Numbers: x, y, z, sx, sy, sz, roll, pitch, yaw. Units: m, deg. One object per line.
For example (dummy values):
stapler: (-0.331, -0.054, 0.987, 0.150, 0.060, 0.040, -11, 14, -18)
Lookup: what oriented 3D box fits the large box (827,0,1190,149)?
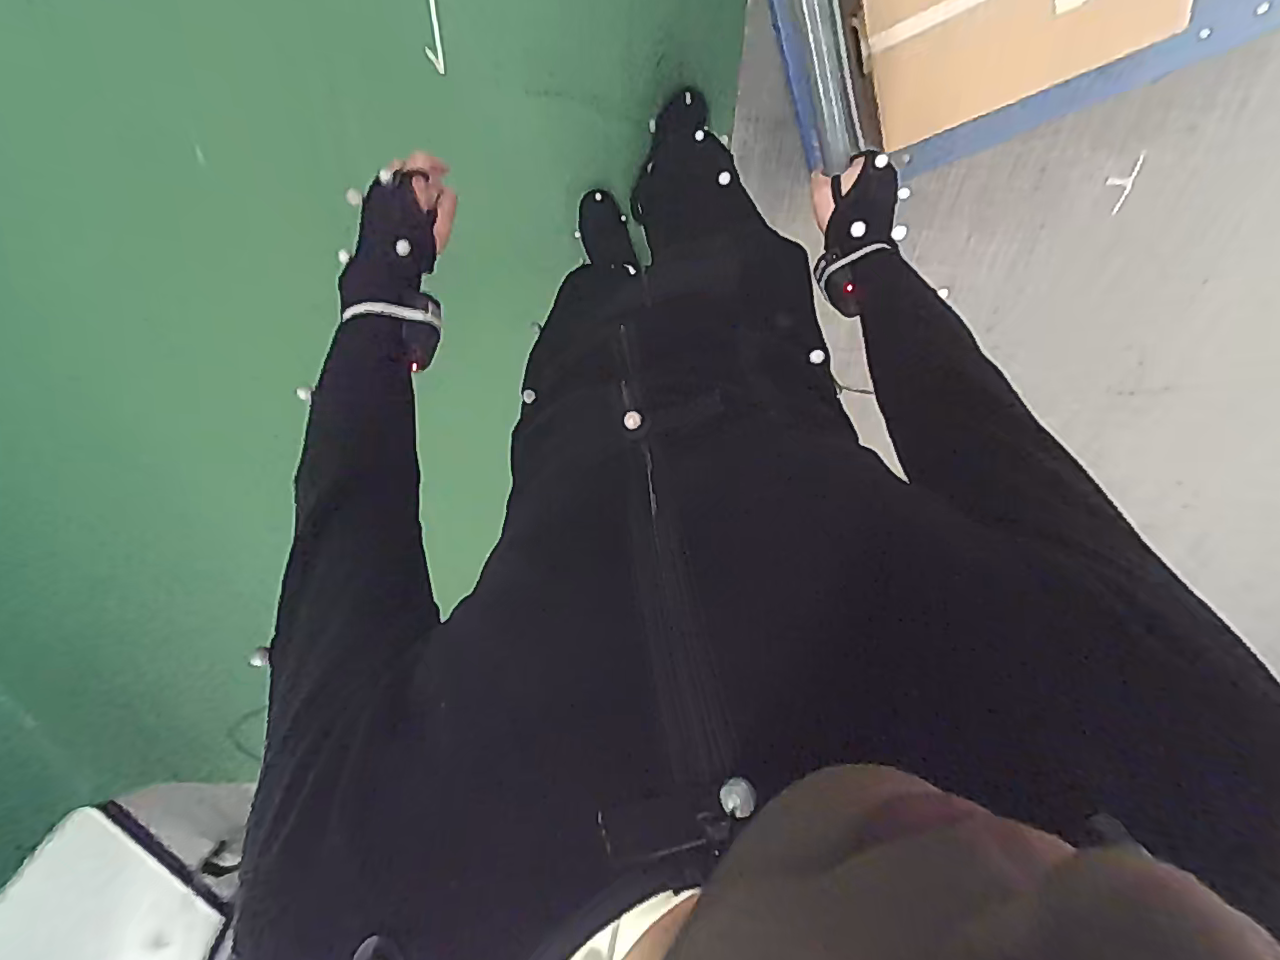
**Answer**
large box: (0.539, -0.793, 0.860, 0.408, 0.320, 0.320, -16, 124, 19)
